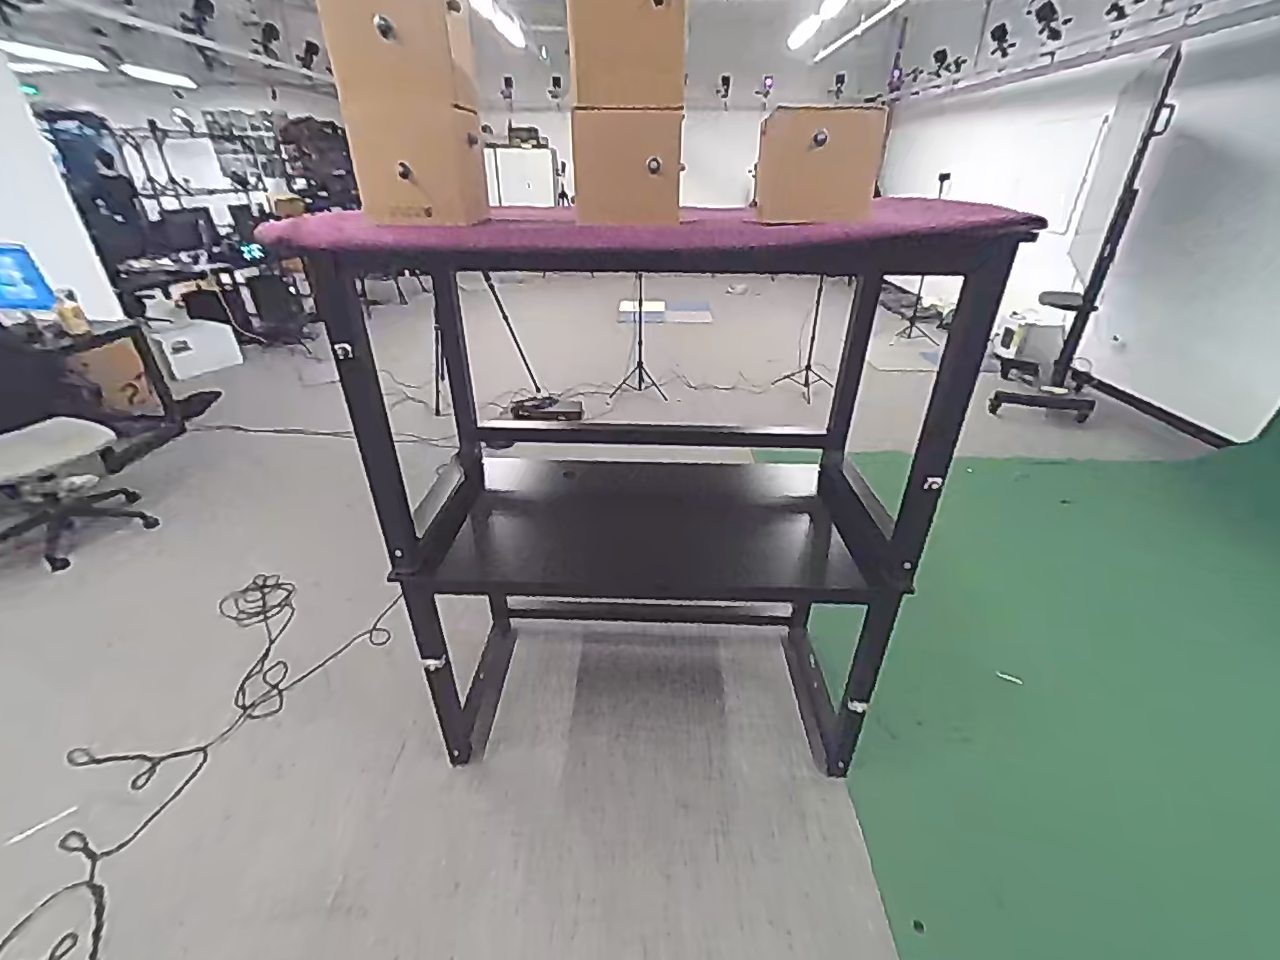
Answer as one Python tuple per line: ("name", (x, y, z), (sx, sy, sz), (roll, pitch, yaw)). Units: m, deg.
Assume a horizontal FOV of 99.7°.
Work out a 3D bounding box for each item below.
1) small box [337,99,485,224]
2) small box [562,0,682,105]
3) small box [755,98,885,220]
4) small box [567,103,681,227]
("small box", (-0.366, -0.529, 0.905), (0.168, 0.176, 0.179), (1, 31, -1))
("small box", (-0.026, -0.680, 0.850), (0.179, 0.176, 0.168), (-1, 30, -1))
("small box", (0.299, -0.549, 0.942), (0.179, 0.176, 0.168), (2, 28, 3))
("small box", (-0.024, -0.537, 0.928), (0.179, 0.176, 0.168), (-1, 29, 0))
